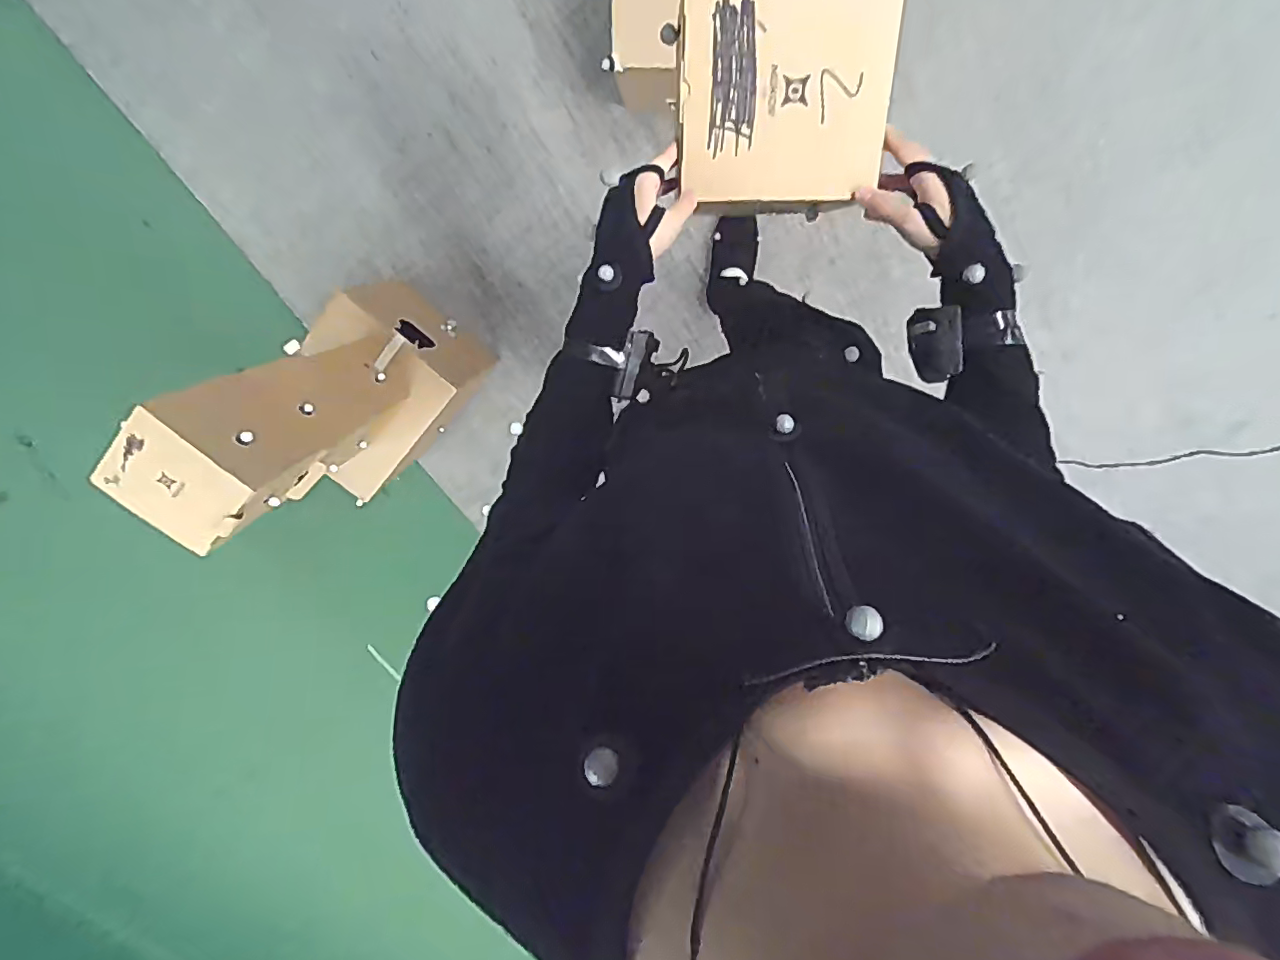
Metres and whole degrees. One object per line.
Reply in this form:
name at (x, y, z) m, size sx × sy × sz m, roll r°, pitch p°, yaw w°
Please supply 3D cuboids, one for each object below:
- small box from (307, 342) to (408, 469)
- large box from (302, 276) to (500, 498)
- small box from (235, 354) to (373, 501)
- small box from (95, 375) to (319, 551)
small box at (-0.621, -0.159, 1.127) m, size 0.179 × 0.176 × 0.168 m, roll -41°, pitch 107°, yaw 19°
large box at (-0.623, -0.241, 1.359) m, size 0.320 × 0.320 × 0.408 m, roll 41°, pitch 112°, yaw -12°
small box at (-0.627, -0.101, 0.974) m, size 0.168 × 0.176 × 0.179 m, roll -39°, pitch 107°, yaw 19°
small box at (-0.642, -0.033, 0.825) m, size 0.168 × 0.176 × 0.179 m, roll -40°, pitch 108°, yaw 19°
